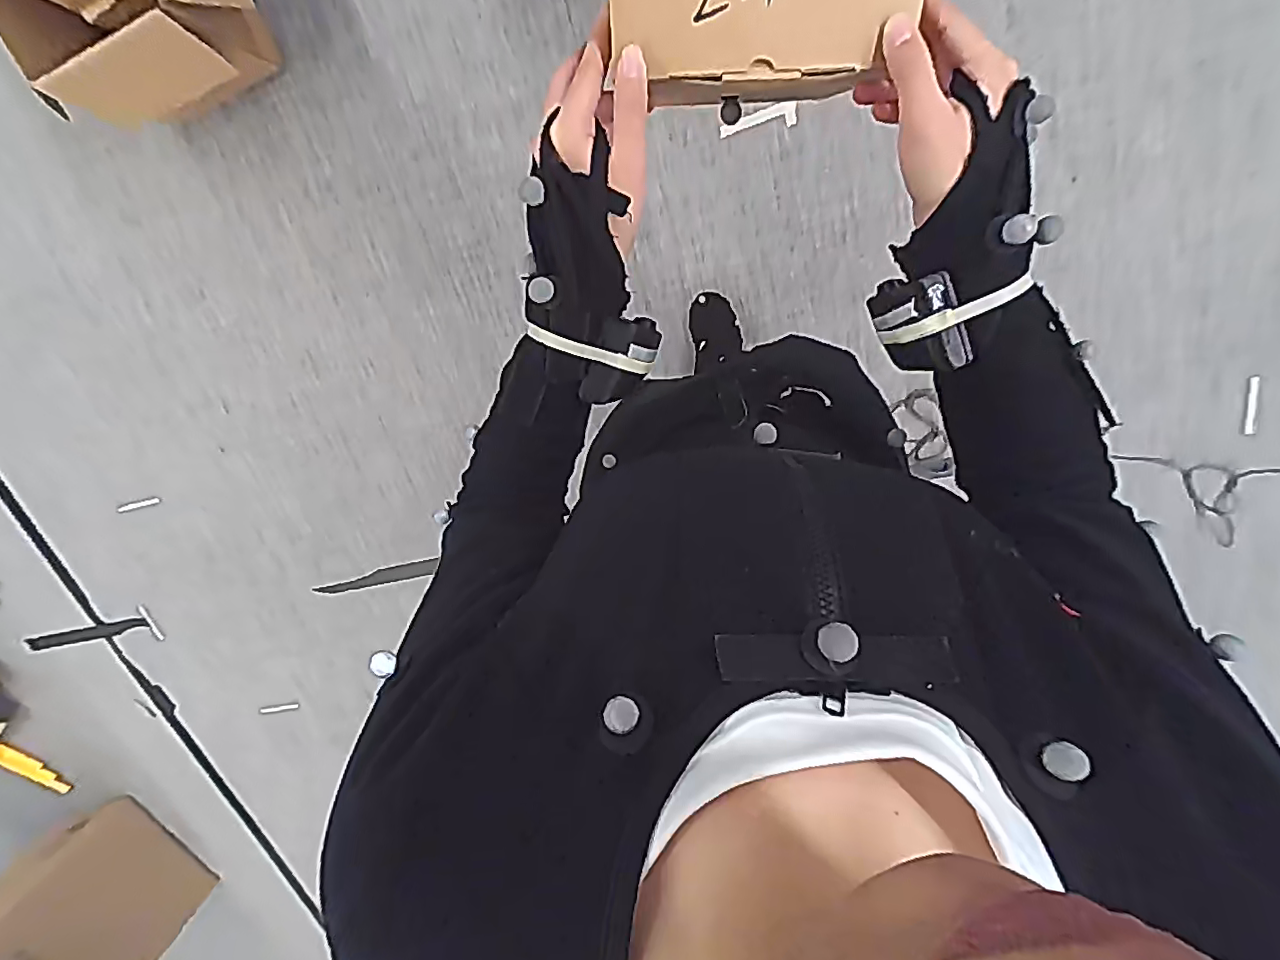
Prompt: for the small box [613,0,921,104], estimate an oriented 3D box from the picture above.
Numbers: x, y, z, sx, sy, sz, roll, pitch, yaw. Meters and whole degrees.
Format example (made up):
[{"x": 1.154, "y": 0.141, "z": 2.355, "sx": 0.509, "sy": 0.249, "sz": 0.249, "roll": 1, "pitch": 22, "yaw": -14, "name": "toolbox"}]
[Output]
[{"x": 0.065, "y": -0.345, "z": 0.326, "sx": 0.168, "sy": 0.176, "sz": 0.179, "roll": -1, "pitch": 120, "yaw": 1, "name": "small box"}]
